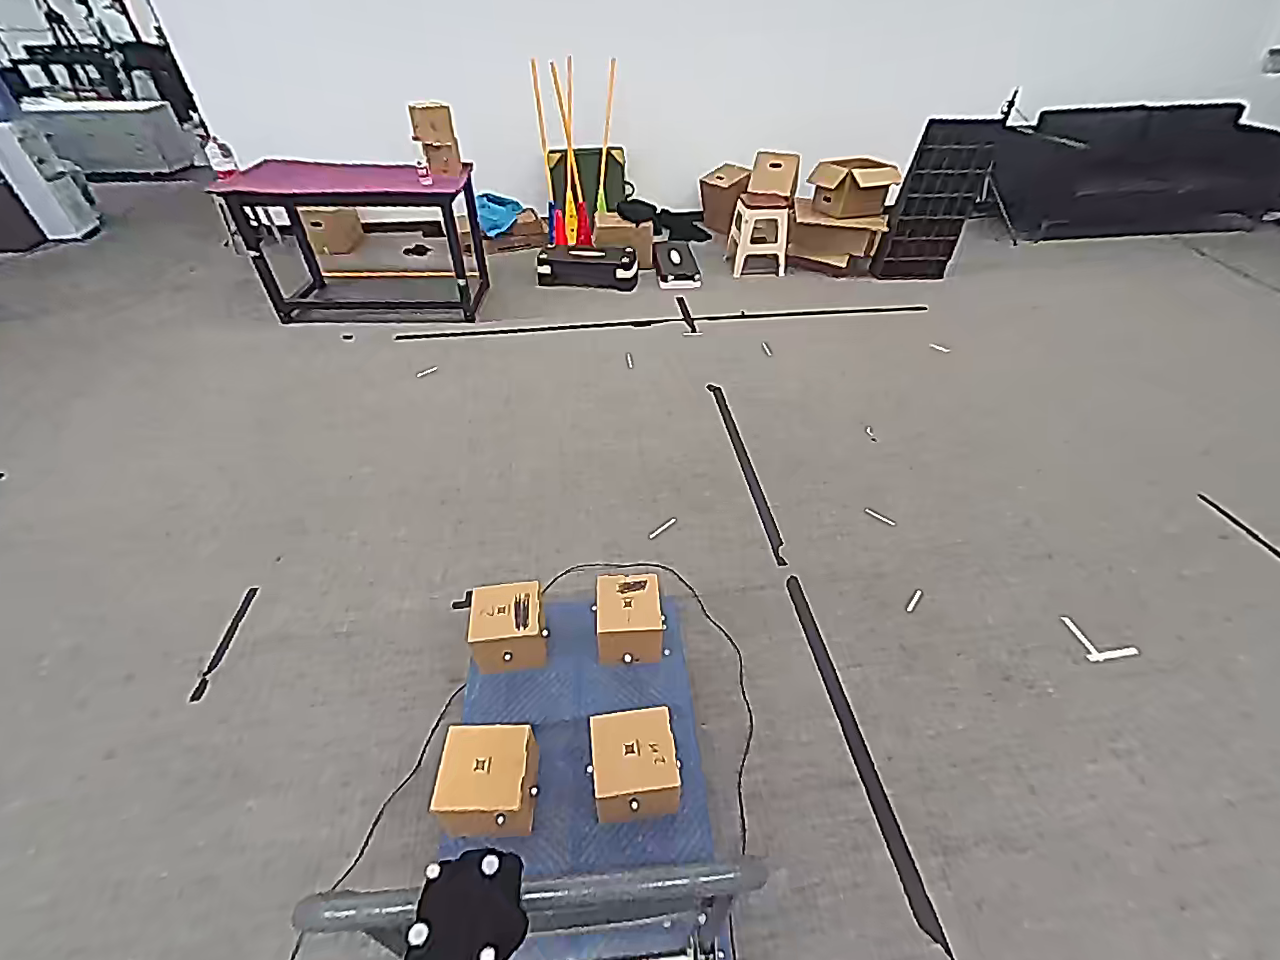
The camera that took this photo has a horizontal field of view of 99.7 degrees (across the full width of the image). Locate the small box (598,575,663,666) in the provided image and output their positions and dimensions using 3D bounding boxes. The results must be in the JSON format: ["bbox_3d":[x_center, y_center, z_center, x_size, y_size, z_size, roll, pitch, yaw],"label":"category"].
[{"bbox_3d":[-0.029,0.378,1.455,0.168,0.176,0.179,-2,43,-3],"label":"small box"}]

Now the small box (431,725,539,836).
[{"bbox_3d":[-0.320,0.644,1.156,0.179,0.176,0.168,0,42,-2],"label":"small box"}]

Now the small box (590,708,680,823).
[{"bbox_3d":[-0.012,0.625,1.180,0.179,0.176,0.168,-5,42,-6],"label":"small box"}]
